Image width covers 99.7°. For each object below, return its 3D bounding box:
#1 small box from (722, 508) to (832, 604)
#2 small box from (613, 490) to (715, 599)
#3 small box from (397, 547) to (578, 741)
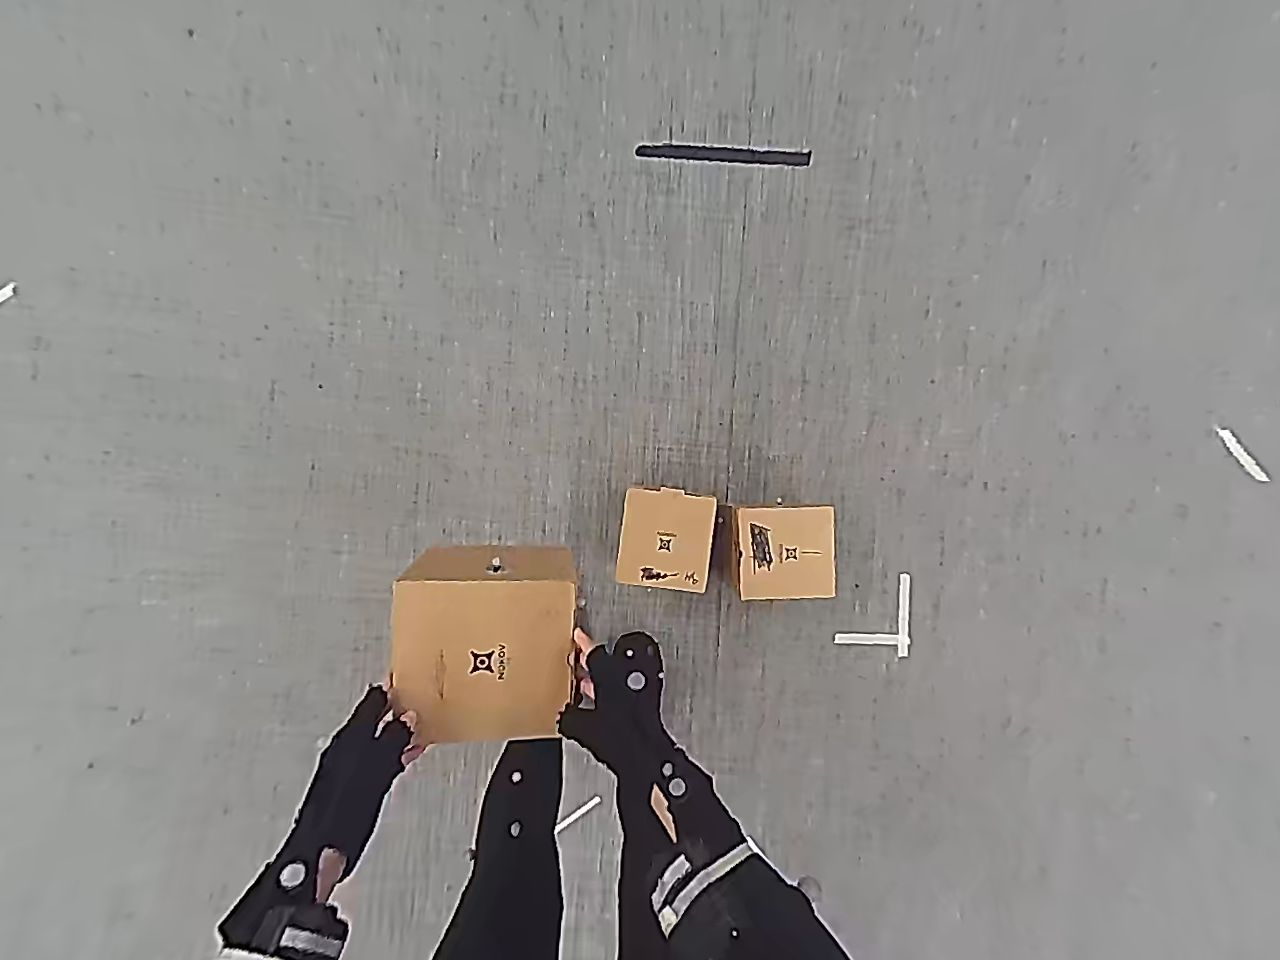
[{"bbox_3d":[0.255,0.141,1.047,0.179,0.176,0.168,-1,90,-2],"label":"small box"},{"bbox_3d":[0.042,0.117,1.043,0.168,0.176,0.179,8,89,-1],"label":"small box"},{"bbox_3d":[-0.166,0.174,0.622,0.179,0.176,0.168,1,94,-9],"label":"small box"}]
